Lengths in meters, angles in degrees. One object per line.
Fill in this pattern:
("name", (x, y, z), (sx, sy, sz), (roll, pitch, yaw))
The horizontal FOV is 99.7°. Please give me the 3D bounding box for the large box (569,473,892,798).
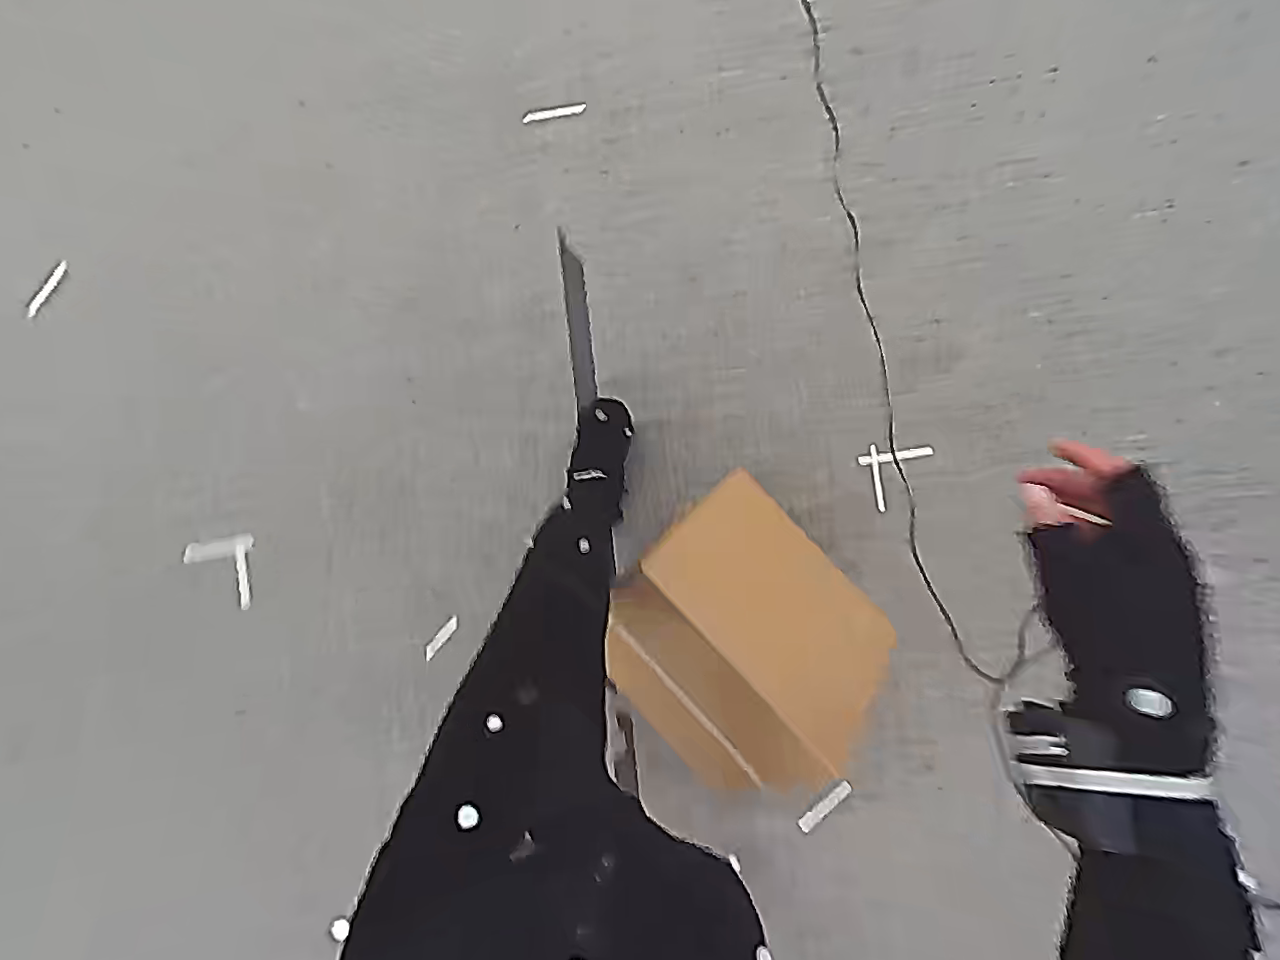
("large box", (0.150, 0.271, 0.959), (0.408, 0.320, 0.320), (47, 138, 6))
